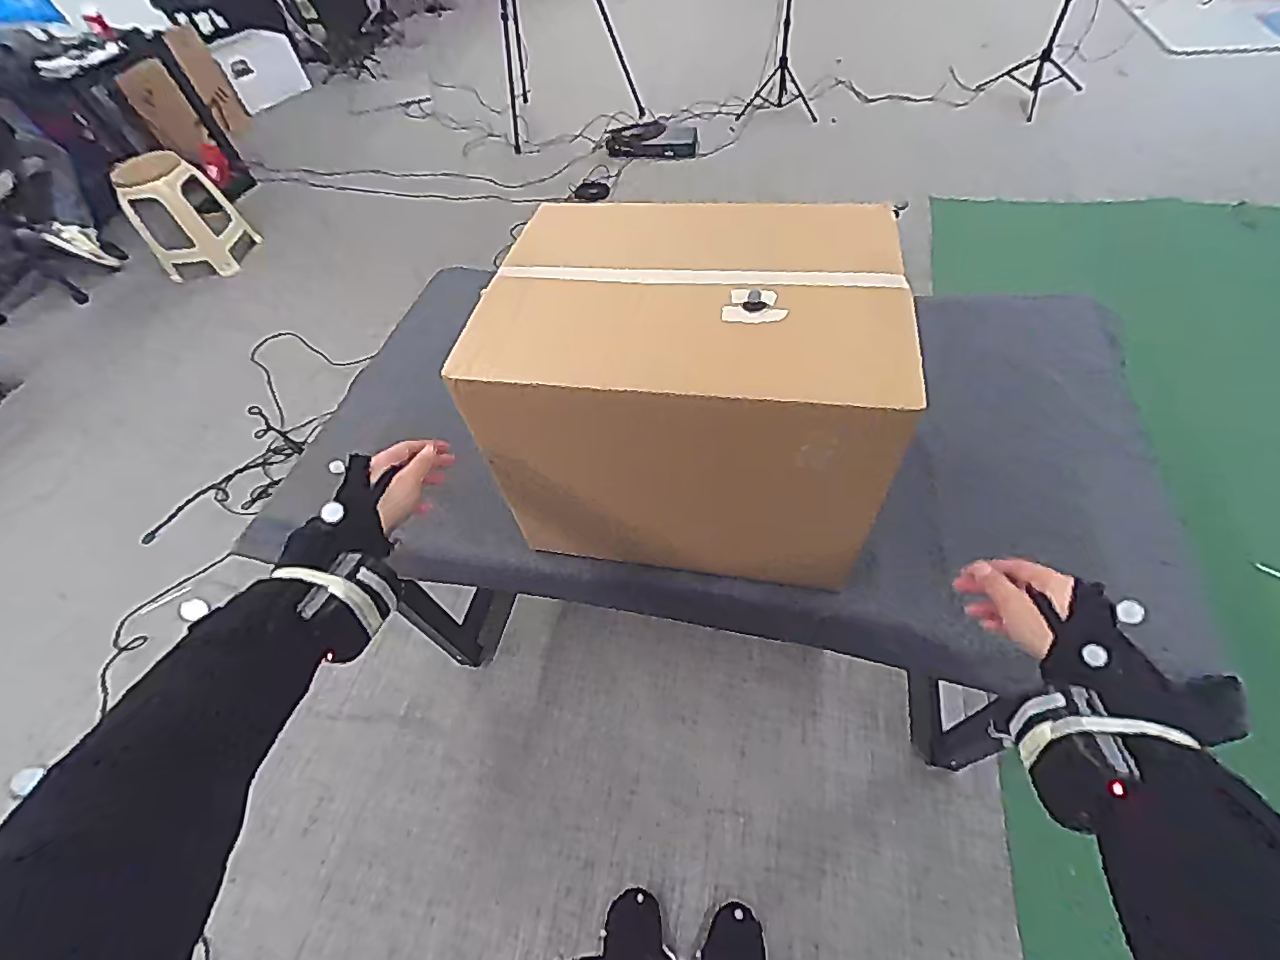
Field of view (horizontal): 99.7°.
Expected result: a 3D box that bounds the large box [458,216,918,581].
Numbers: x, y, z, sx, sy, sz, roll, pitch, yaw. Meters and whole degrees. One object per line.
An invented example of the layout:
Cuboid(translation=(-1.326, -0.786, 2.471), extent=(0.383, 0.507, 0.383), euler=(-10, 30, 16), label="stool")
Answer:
Cuboid(translation=(0.063, -0.100, 0.663), extent=(0.408, 0.320, 0.320), euler=(6, 54, 10), label="large box")
